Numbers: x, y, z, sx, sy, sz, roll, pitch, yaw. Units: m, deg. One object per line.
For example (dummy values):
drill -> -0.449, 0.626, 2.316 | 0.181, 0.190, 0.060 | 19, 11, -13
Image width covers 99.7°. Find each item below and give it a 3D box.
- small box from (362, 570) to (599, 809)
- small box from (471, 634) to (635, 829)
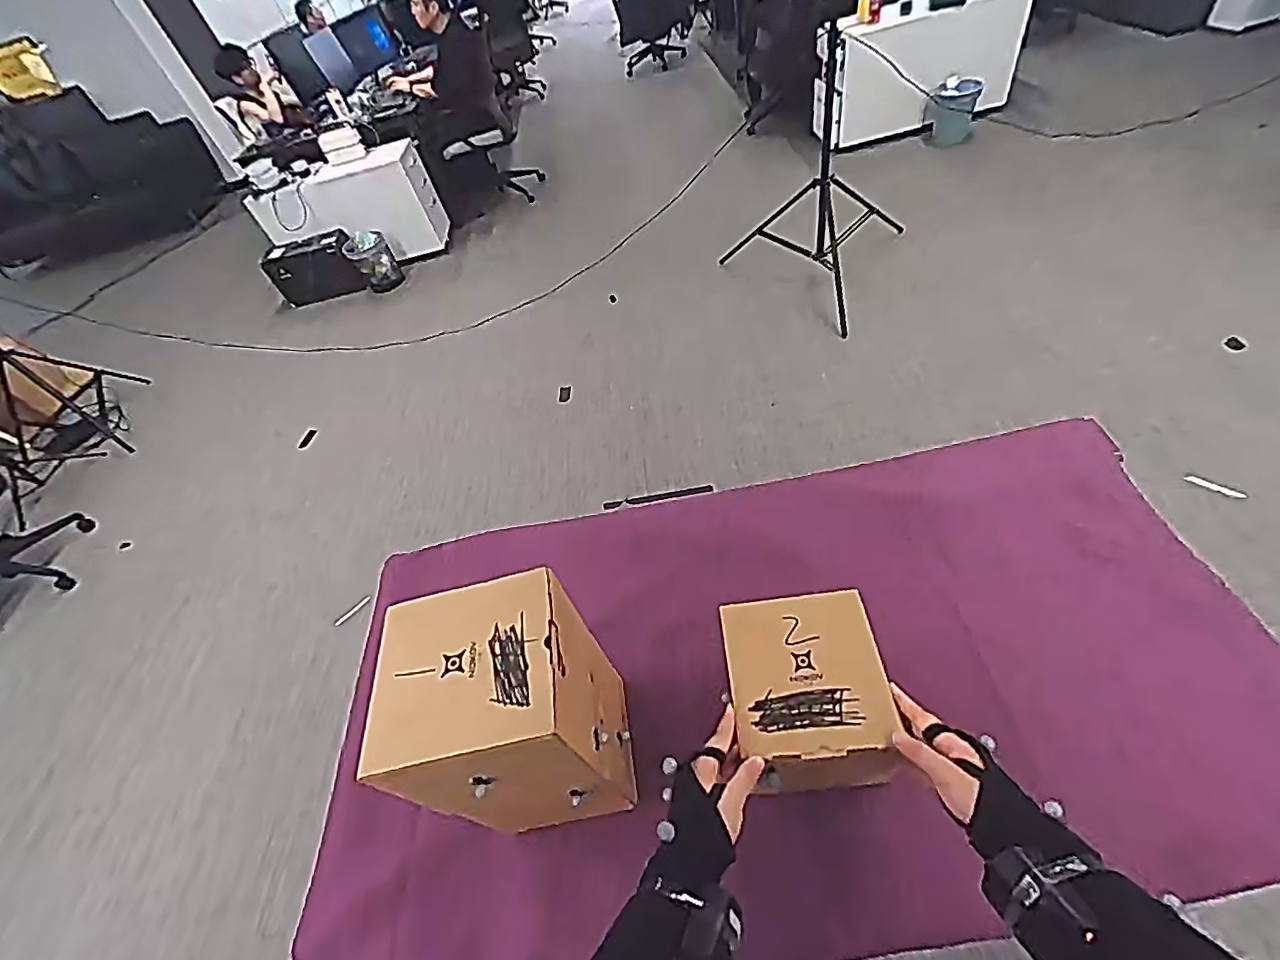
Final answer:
small box -> -0.146, 0.221, 0.561 | 0.179, 0.176, 0.168 | -14, 48, 3
small box -> -0.116, 0.323, 0.686 | 0.179, 0.176, 0.168 | -14, 48, 2
